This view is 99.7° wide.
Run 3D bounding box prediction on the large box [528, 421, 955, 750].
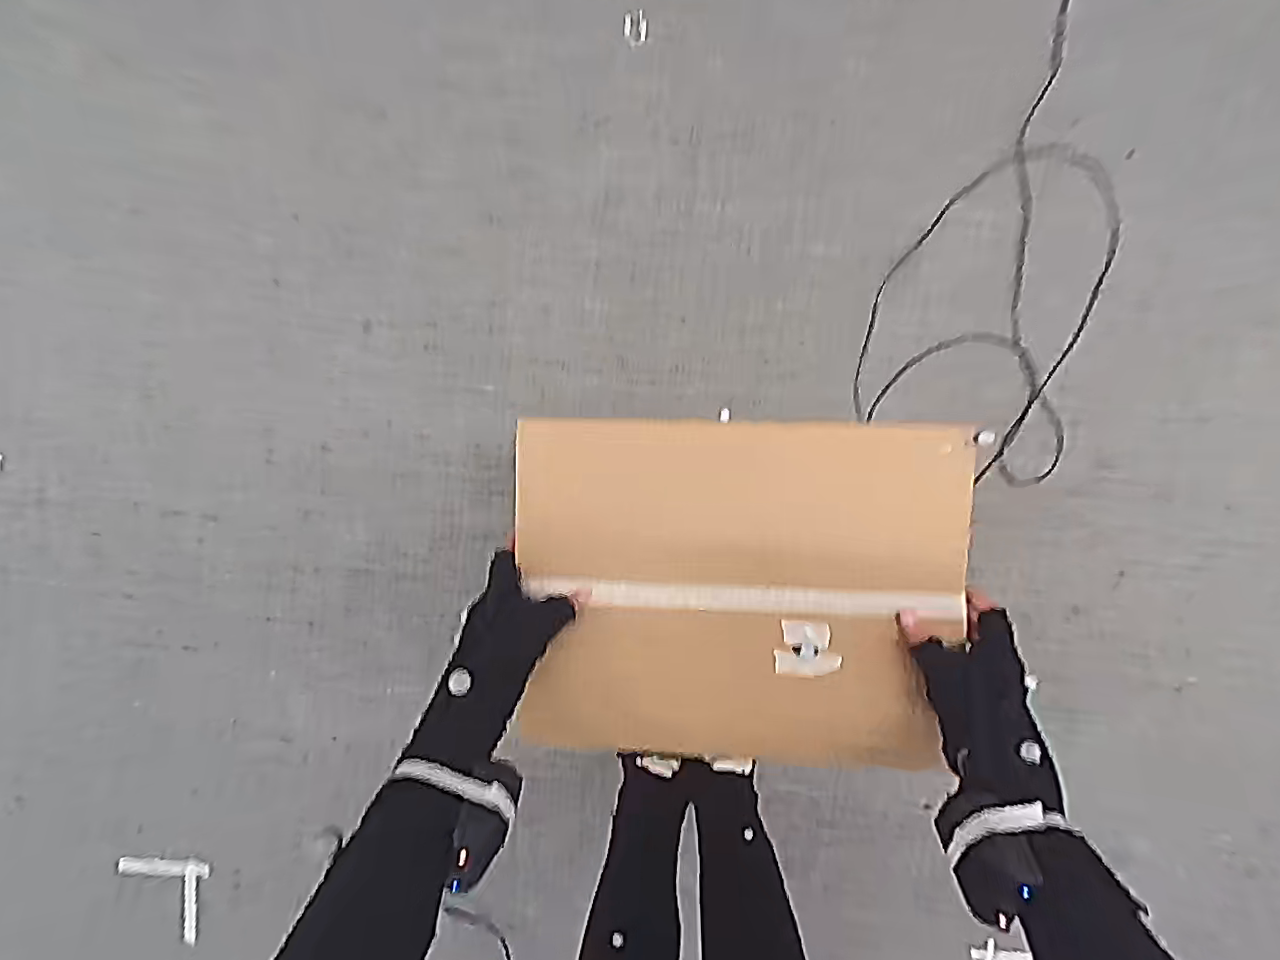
[{"bbox_3d":[0.099,0.092,0.663,0.408,0.320,0.320,1,95,5],"label":"large box"}]
